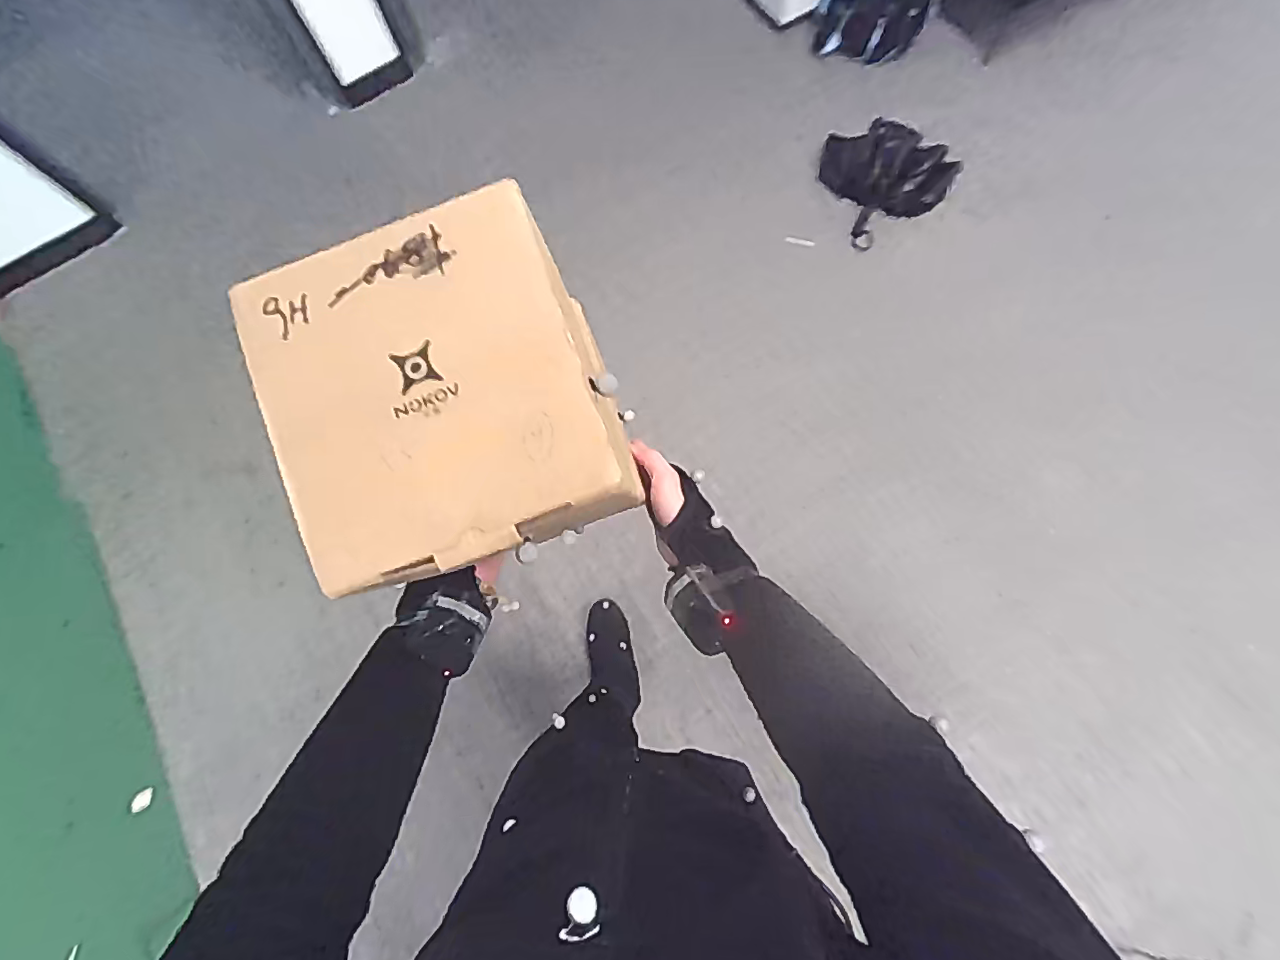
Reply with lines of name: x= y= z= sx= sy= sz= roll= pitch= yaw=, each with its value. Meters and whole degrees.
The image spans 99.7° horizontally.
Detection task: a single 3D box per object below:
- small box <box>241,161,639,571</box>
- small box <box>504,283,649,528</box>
small box: x=-0.104 y=-0.057 z=0.360 sx=0.168 sy=0.176 sz=0.179 roll=-19 pitch=87 yaw=2
small box: x=-0.094 y=-0.055 z=0.522 sx=0.168 sy=0.176 sz=0.179 roll=-17 pitch=86 yaw=2
